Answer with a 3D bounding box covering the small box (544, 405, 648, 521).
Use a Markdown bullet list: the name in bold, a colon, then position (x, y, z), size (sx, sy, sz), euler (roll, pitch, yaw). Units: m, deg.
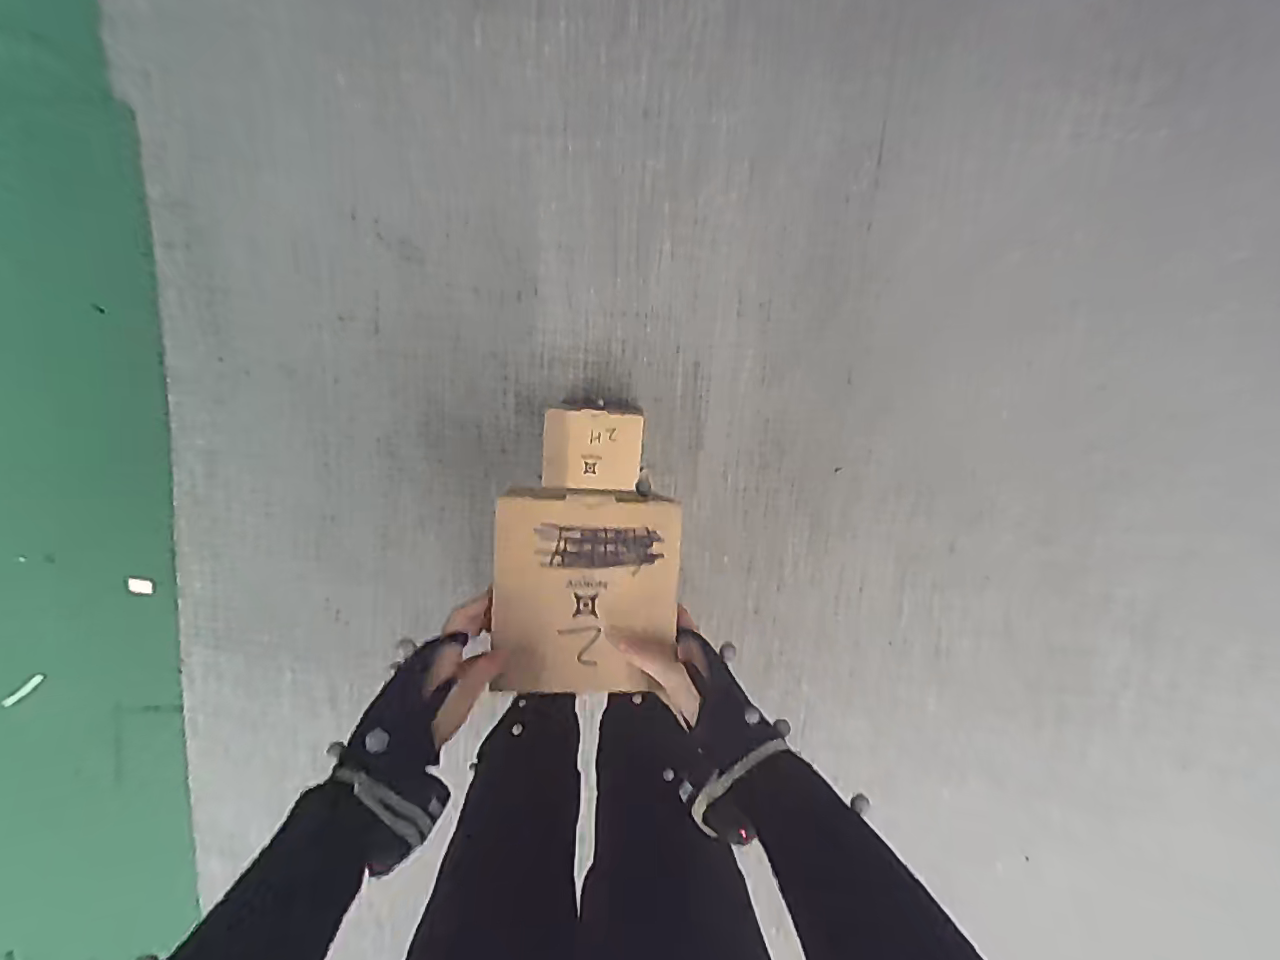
- **small box**: position (-0.074, -0.038, 0.981), size (0.168, 0.176, 0.179), euler (5, 101, 0)
